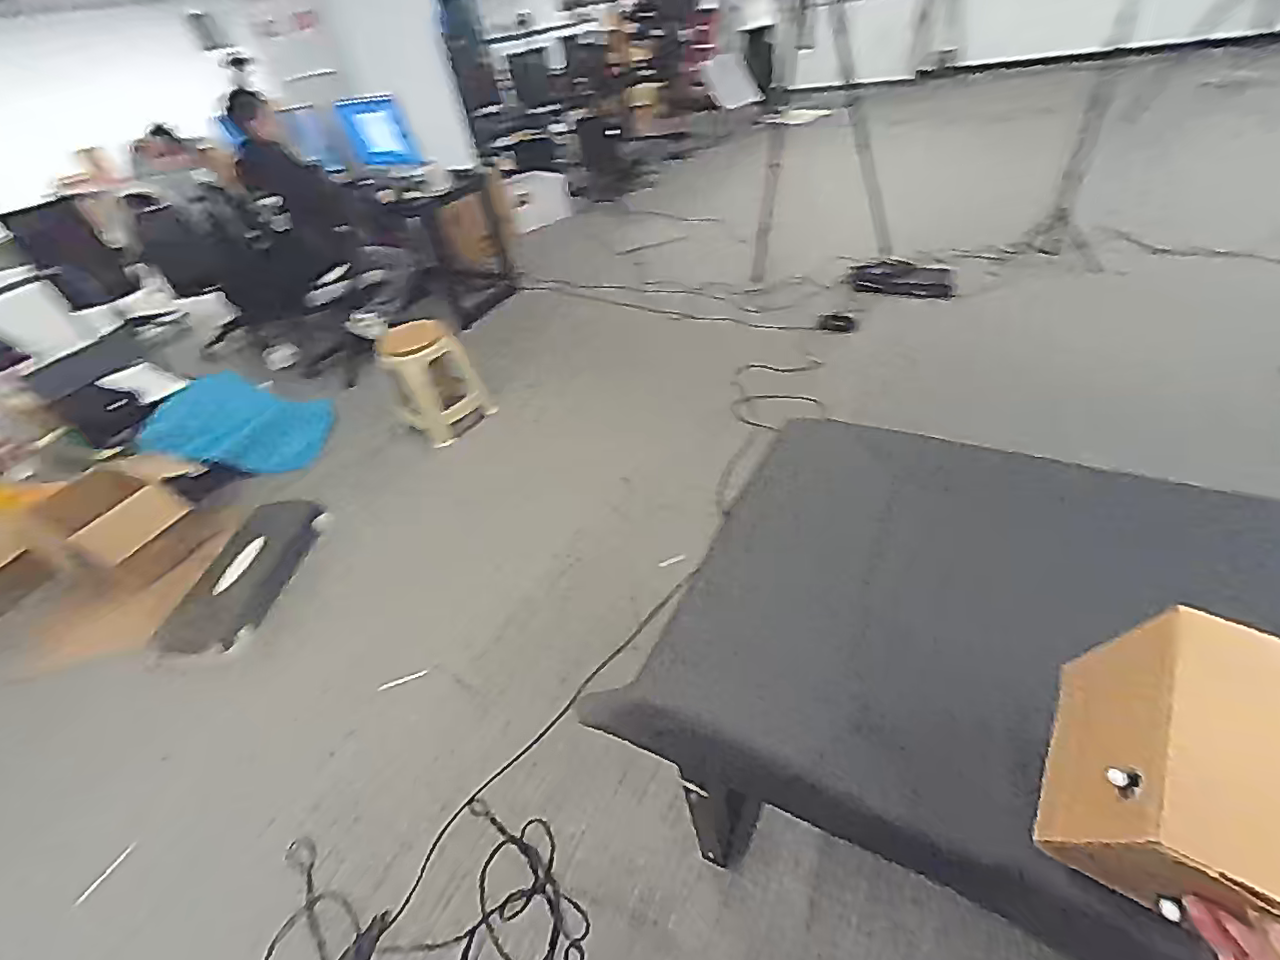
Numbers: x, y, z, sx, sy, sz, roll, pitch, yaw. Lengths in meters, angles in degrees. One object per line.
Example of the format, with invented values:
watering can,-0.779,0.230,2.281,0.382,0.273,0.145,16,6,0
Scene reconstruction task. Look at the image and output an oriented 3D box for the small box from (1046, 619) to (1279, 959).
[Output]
small box,0.436,0.236,0.396,0.168,0.176,0.179,21,64,21
